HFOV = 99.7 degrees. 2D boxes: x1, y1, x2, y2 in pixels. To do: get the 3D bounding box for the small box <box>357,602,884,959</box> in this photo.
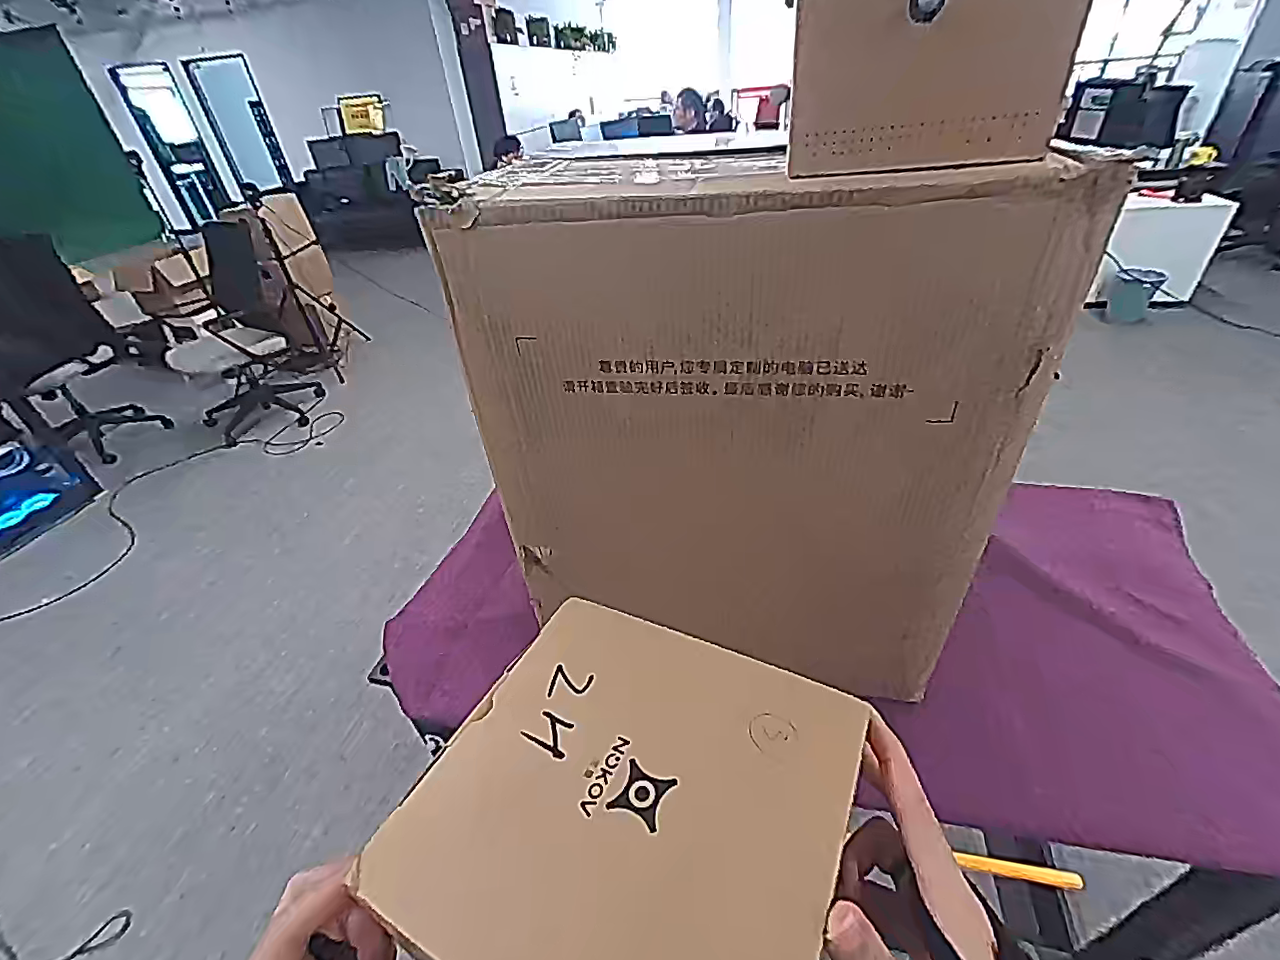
[{"bbox_3d":[0.006,0.200,0.278,0.179,0.176,0.168,13,38,26],"label":"small box"}]
